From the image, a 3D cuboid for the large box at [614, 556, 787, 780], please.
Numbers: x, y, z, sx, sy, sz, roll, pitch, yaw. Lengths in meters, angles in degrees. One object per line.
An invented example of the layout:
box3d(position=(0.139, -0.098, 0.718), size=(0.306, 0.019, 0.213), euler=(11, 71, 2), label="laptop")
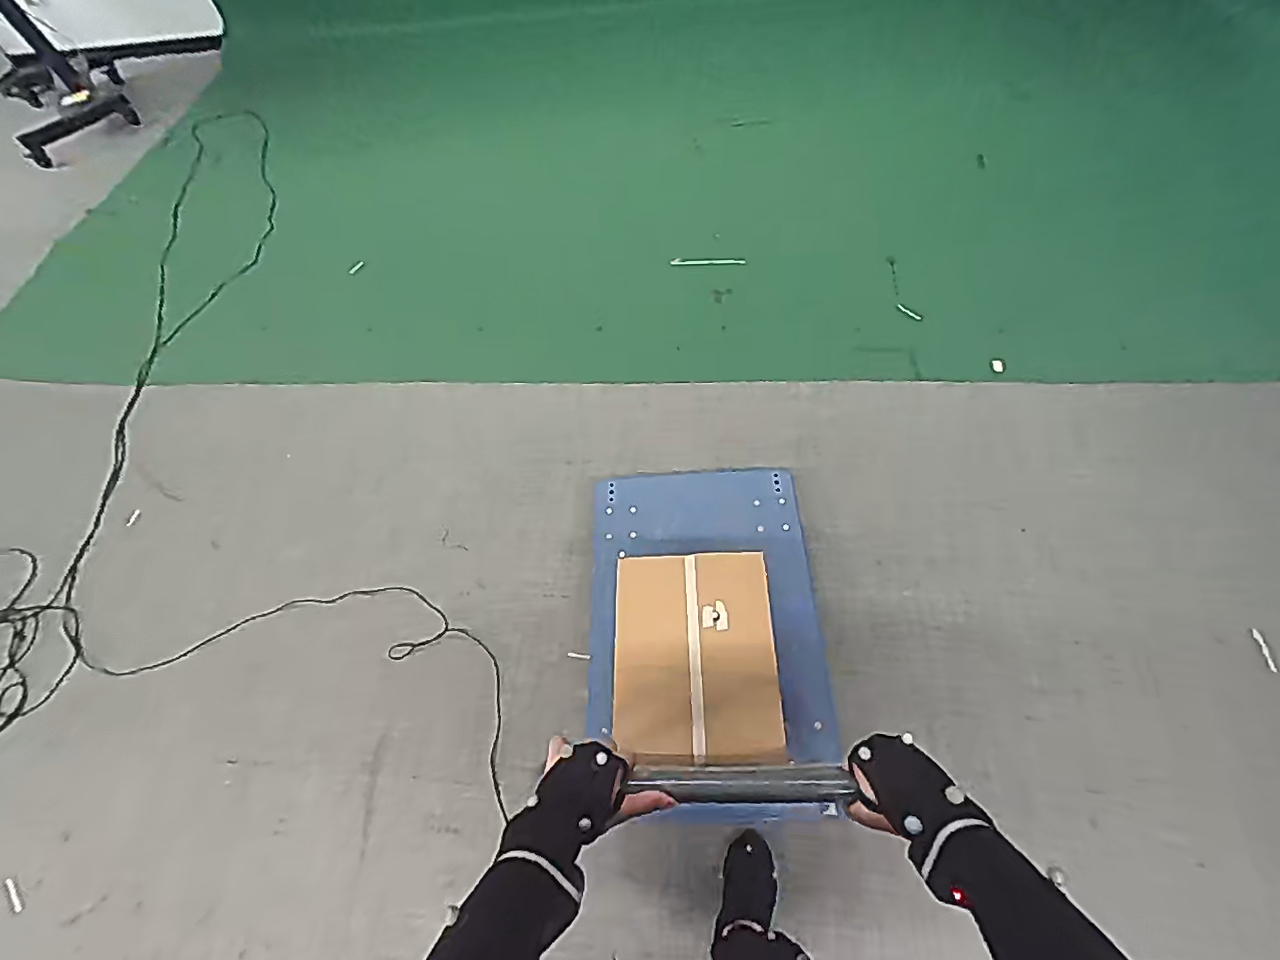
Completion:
box3d(position=(0.120, 0.419, 1.187), size=(0.320, 0.320, 0.408), euler=(-3, 58, 4), label="large box")
